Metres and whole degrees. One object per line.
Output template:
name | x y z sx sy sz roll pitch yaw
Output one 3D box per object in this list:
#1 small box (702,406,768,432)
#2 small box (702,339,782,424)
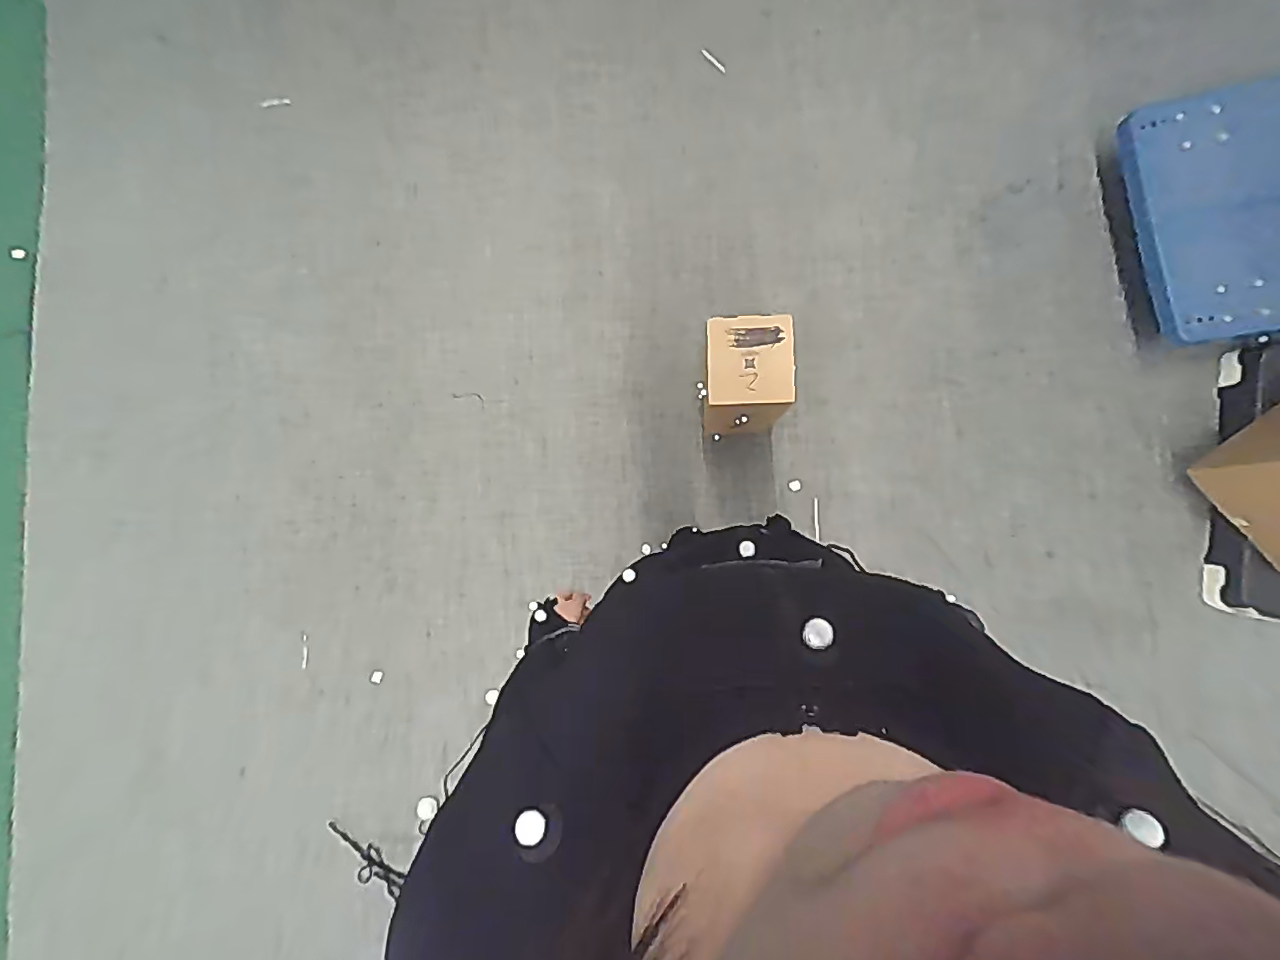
small box | 0.251 -0.223 1.442 0.168 0.176 0.179 -1 86 6
small box | 0.236 -0.227 1.279 0.179 0.176 0.168 -1 87 6
